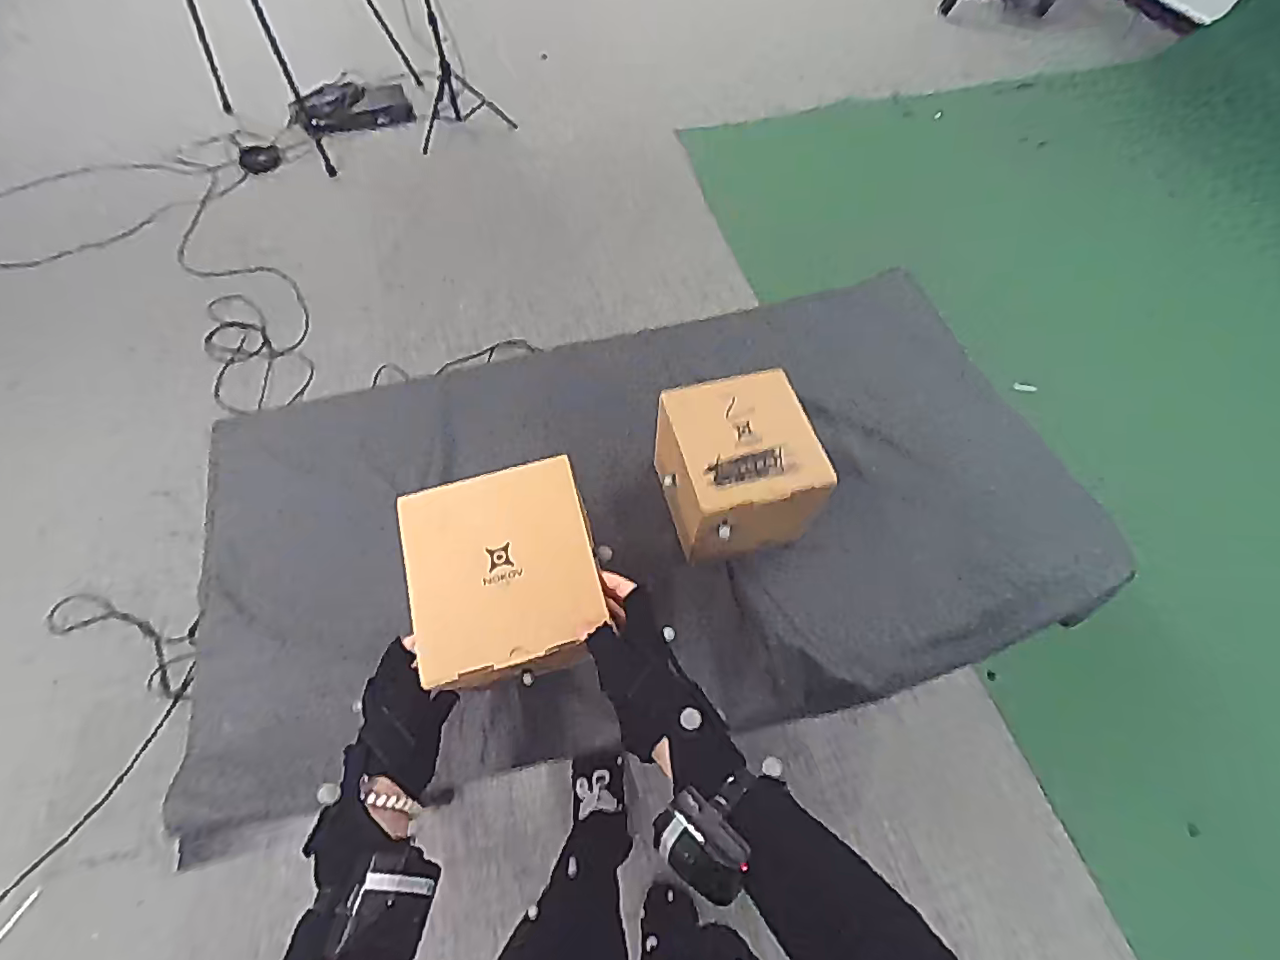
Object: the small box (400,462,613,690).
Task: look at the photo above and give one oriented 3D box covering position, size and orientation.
[{"bbox_3d":[-0.129,0.108,0.563,0.168,0.176,0.179,-15,69,-7],"label":"small box"}]
